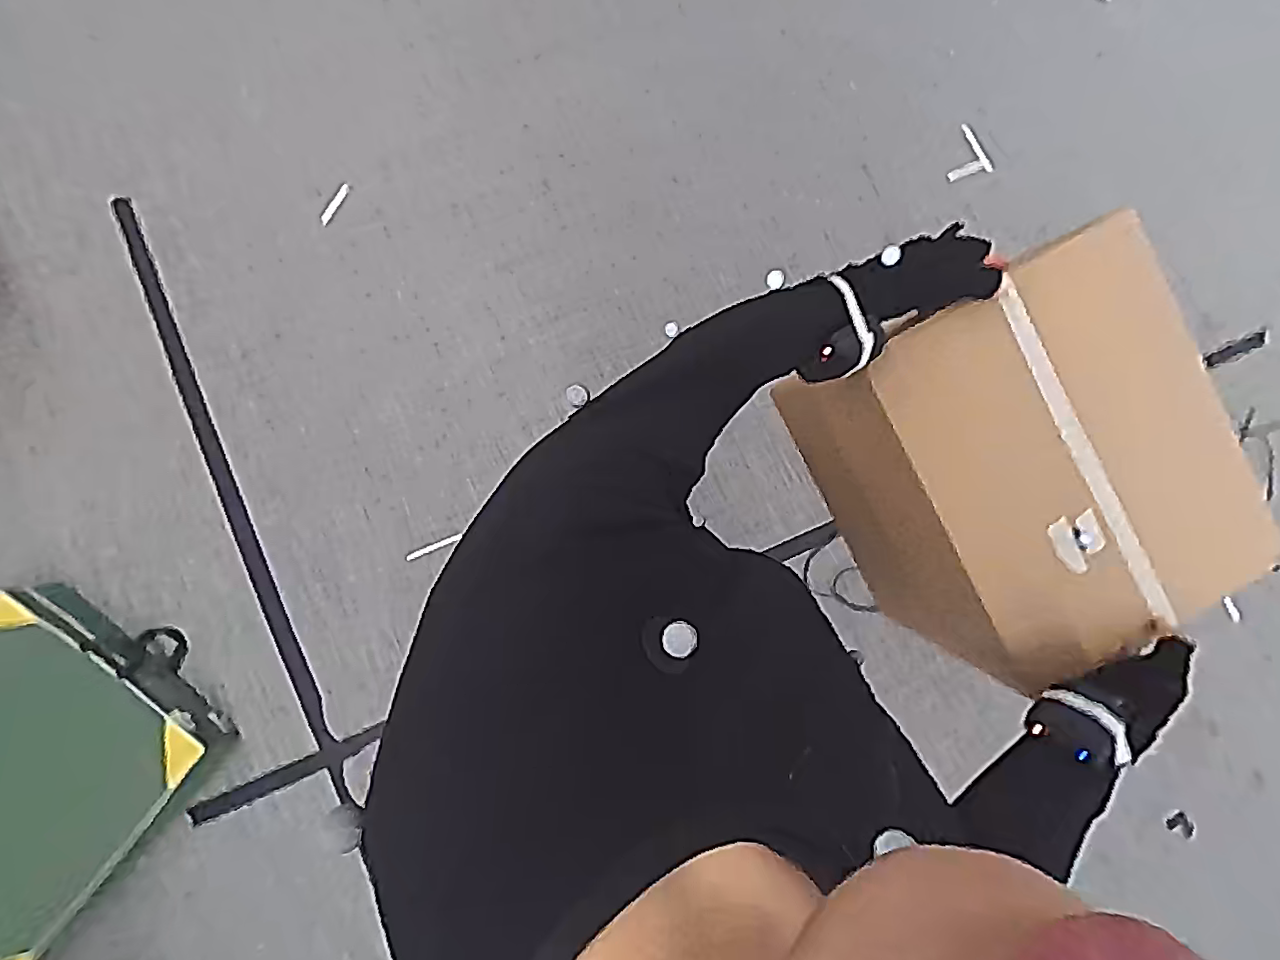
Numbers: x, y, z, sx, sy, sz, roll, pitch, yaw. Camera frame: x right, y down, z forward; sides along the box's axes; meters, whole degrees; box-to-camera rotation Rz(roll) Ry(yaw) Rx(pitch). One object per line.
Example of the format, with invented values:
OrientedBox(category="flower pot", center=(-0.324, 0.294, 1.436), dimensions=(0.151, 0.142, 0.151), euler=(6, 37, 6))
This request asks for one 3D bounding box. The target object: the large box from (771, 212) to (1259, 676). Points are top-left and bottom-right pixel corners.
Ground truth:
OrientedBox(category="large box", center=(0.432, -0.042, 0.711), dimensions=(0.320, 0.320, 0.408), euler=(-28, 95, 0))
